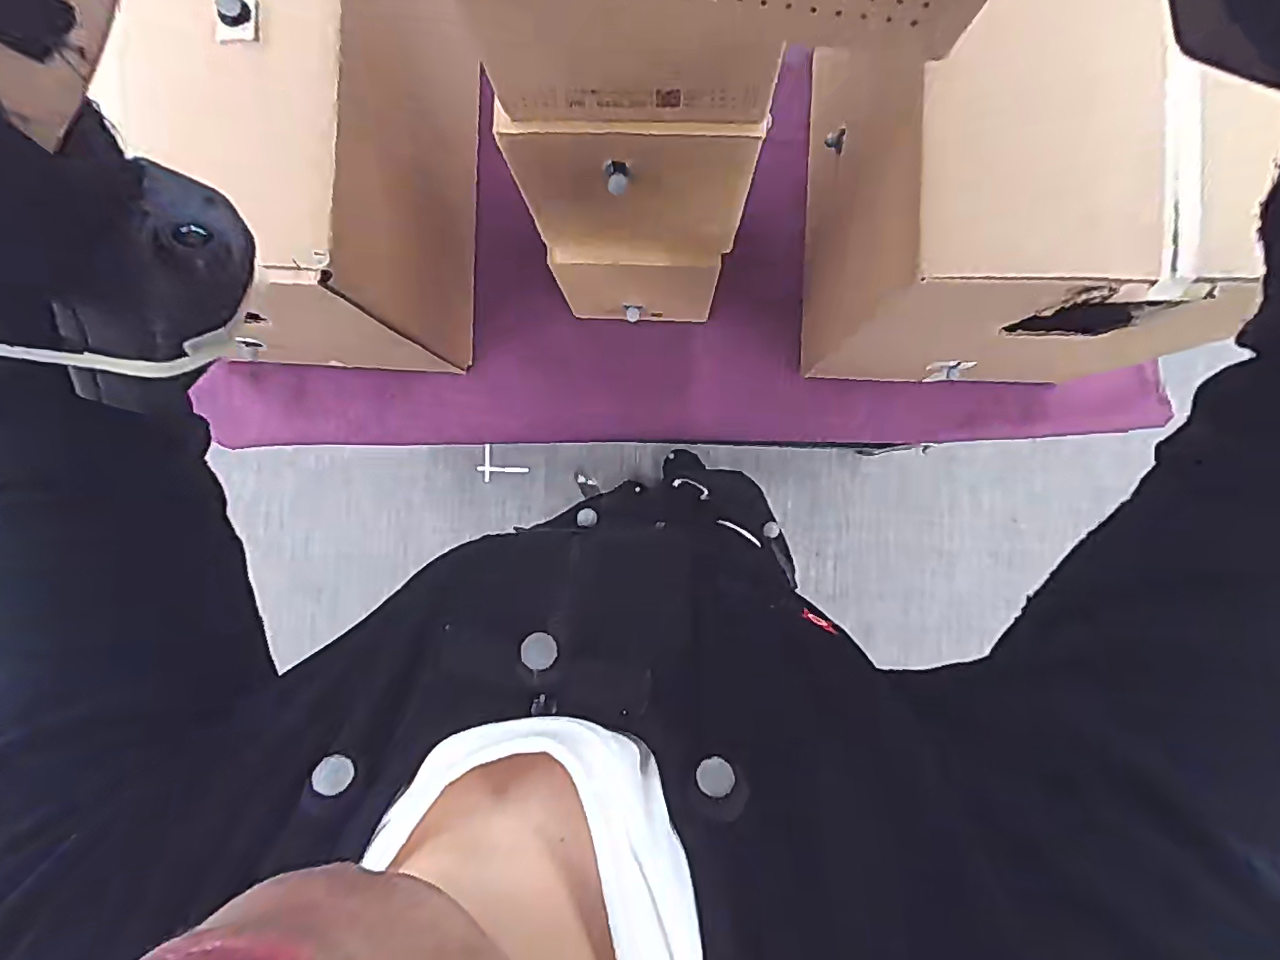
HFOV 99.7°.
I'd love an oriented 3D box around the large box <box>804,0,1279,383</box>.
[{"bbox_3d":[0.343,-0.317,0.505,0.320,0.320,0.408,2,88,2],"label":"large box"}]
